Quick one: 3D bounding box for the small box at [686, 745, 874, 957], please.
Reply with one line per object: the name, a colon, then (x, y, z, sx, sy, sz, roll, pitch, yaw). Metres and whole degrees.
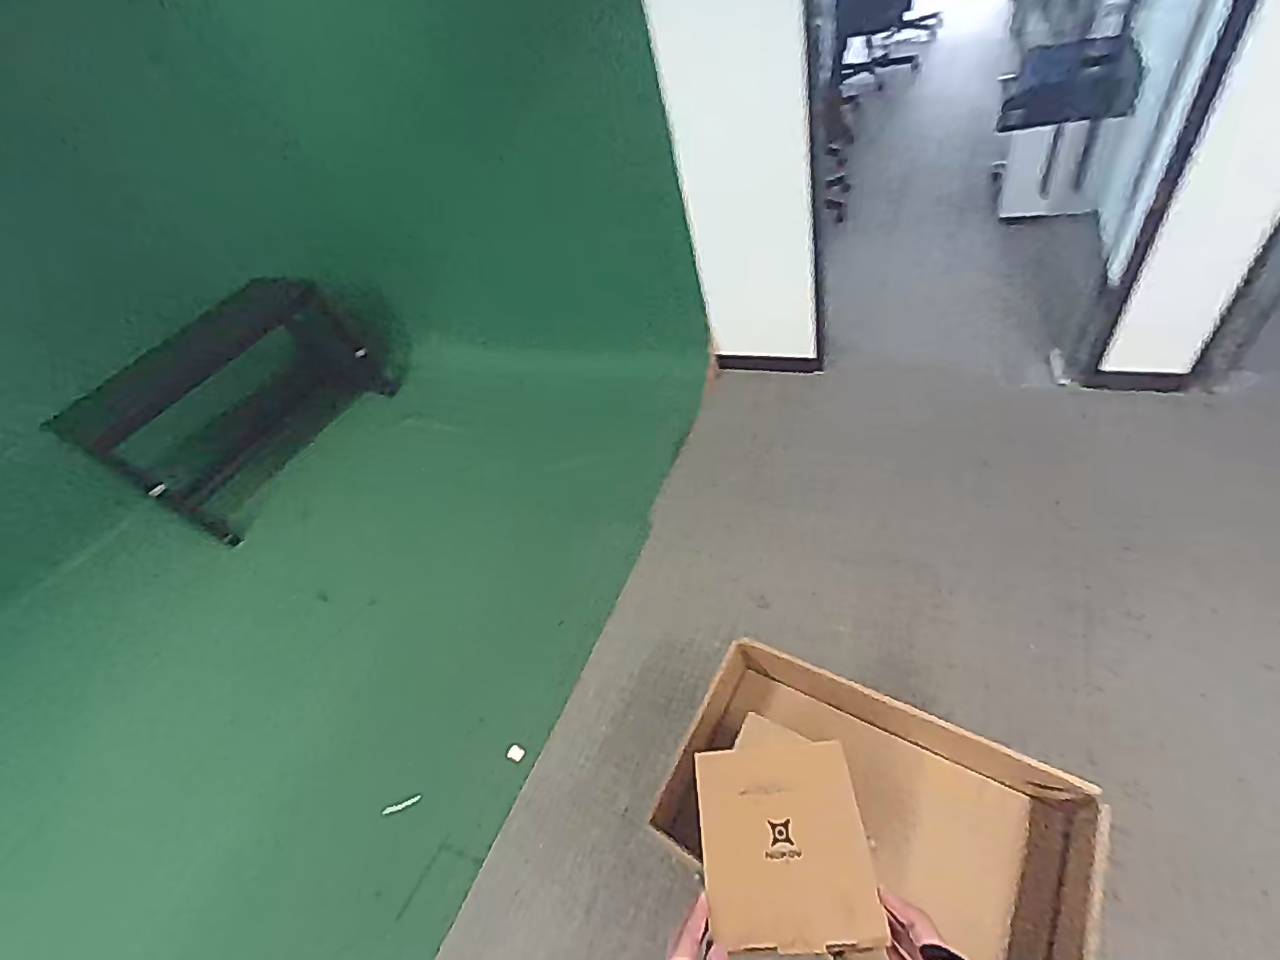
small box: (0.151, 0.423, 0.614, 0.168, 0.176, 0.179, -9, 47, 8)
